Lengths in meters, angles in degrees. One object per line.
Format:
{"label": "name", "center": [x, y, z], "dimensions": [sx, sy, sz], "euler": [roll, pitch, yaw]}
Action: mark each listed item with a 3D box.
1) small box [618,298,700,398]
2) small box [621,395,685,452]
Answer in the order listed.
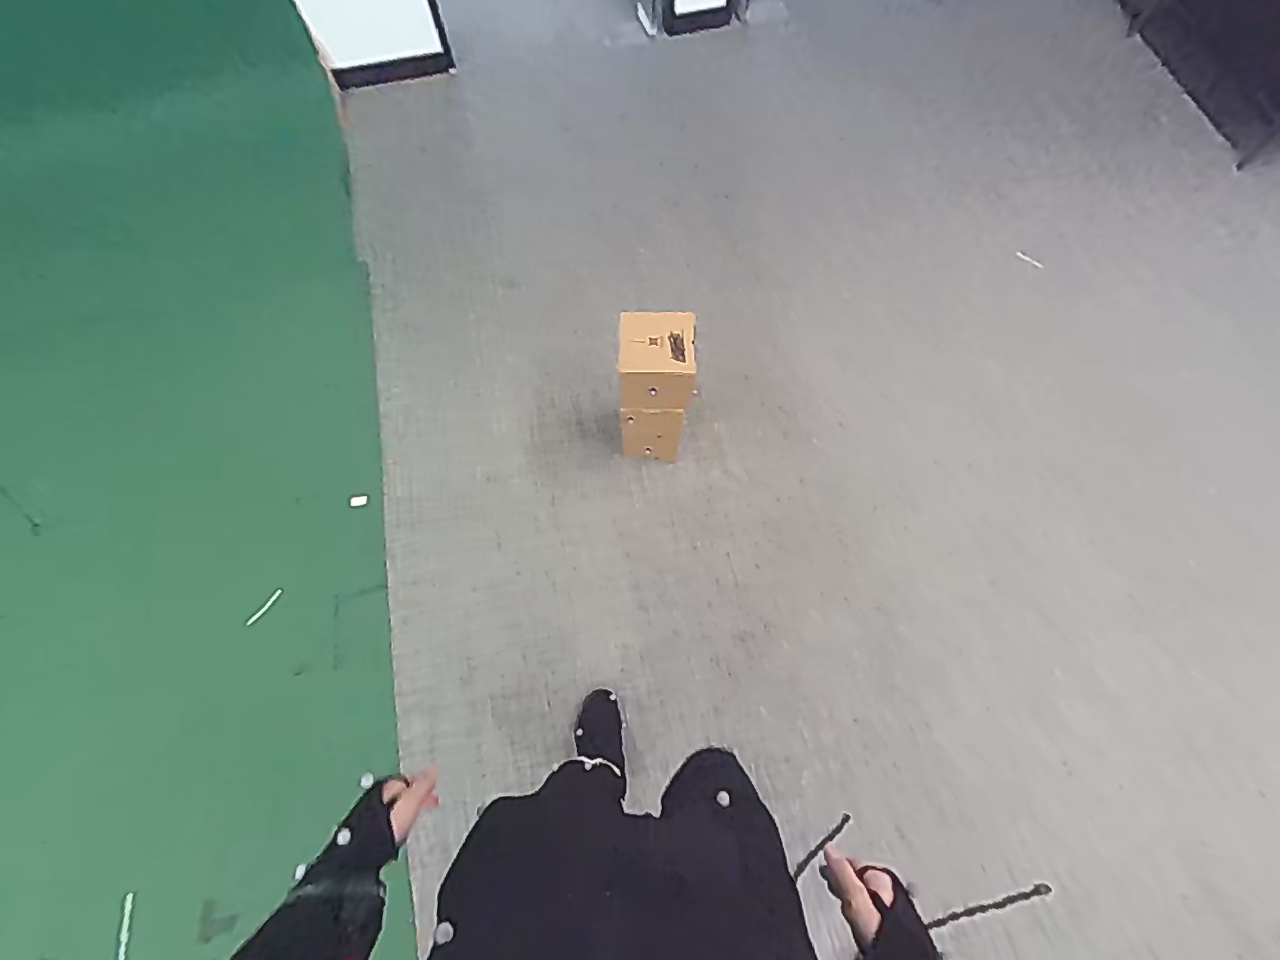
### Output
{"label": "small box", "center": [0.043, -0.304, 1.273], "dimensions": [0.179, 0.176, 0.168], "euler": [3, 70, 2]}
{"label": "small box", "center": [0.041, -0.196, 1.583], "dimensions": [0.168, 0.176, 0.179], "euler": [9, 70, 2]}
